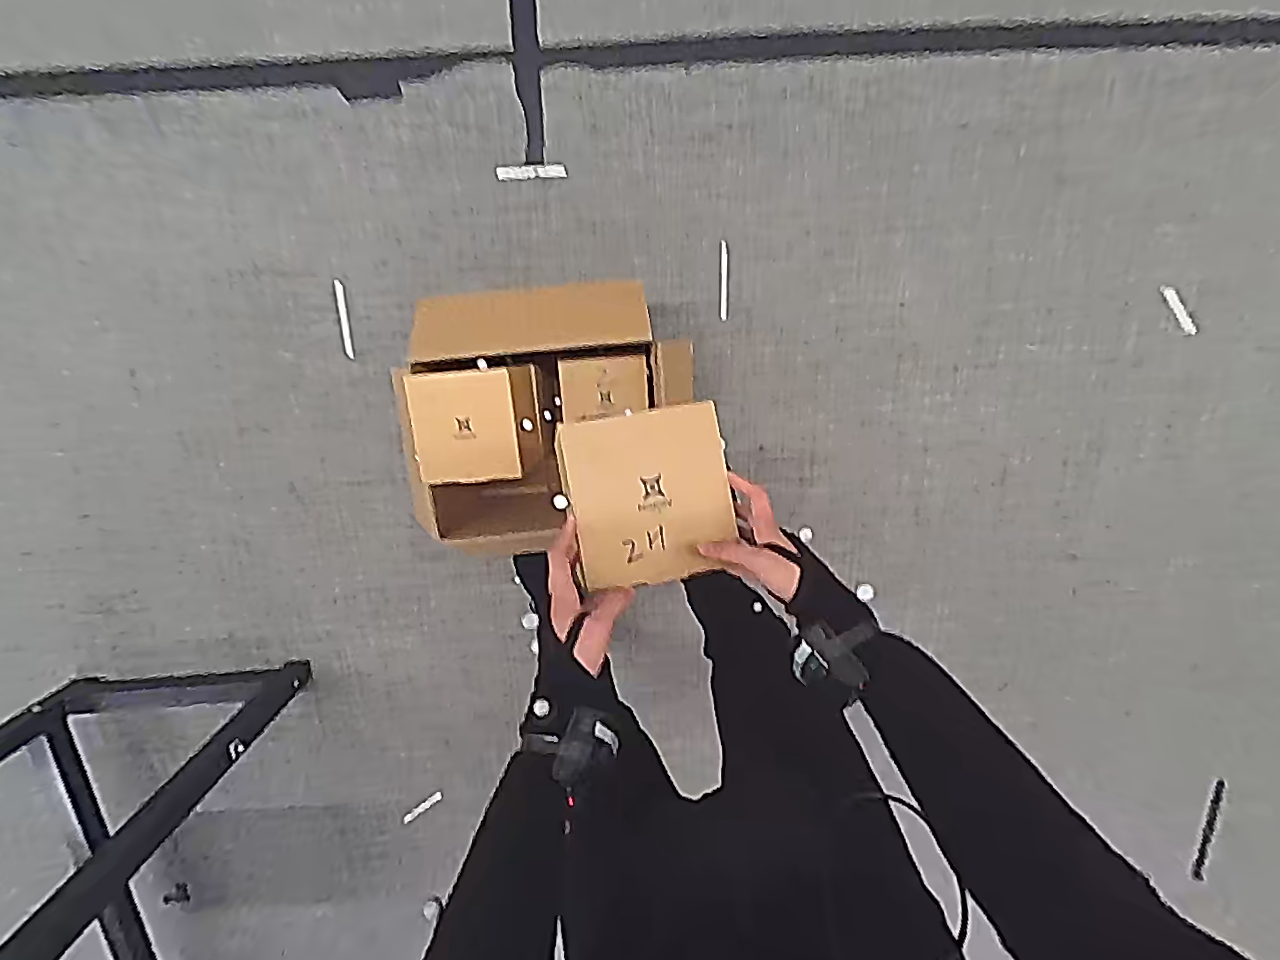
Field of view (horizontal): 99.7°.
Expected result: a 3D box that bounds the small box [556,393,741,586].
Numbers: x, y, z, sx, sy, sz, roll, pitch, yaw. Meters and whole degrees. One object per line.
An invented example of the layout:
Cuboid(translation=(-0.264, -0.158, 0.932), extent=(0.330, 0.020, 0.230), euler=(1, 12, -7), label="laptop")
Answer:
Cuboid(translation=(-0.002, 0.011, 0.622), extent=(0.168, 0.176, 0.179), euler=(-10, 90, -10), label="small box")
